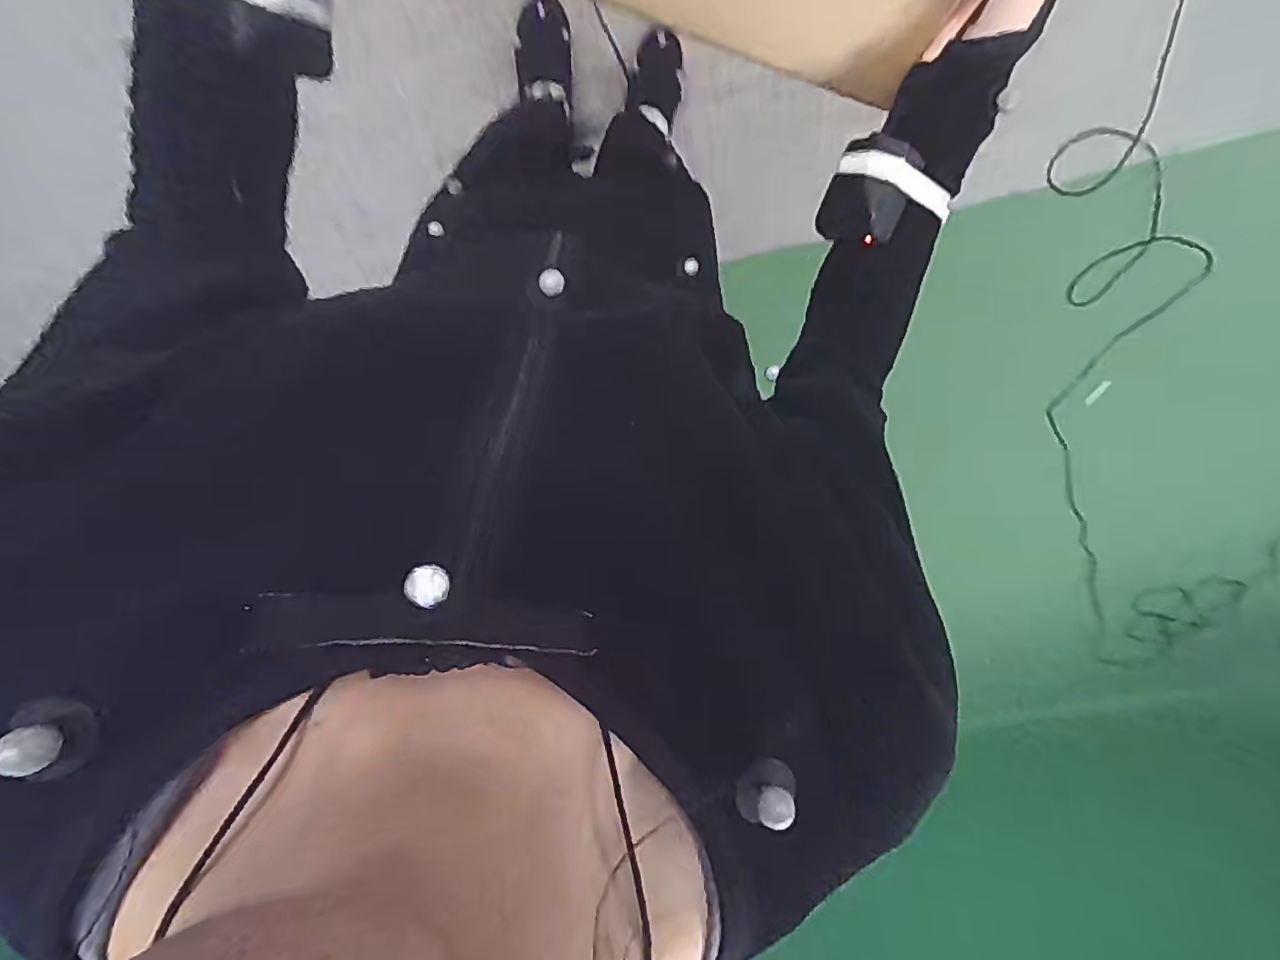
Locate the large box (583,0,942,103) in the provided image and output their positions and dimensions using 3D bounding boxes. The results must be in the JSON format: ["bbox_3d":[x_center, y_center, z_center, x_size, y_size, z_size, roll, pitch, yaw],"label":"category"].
[{"bbox_3d":[0.031,-0.518,0.337,0.408,0.320,0.320,5,141,-20],"label":"large box"}]
